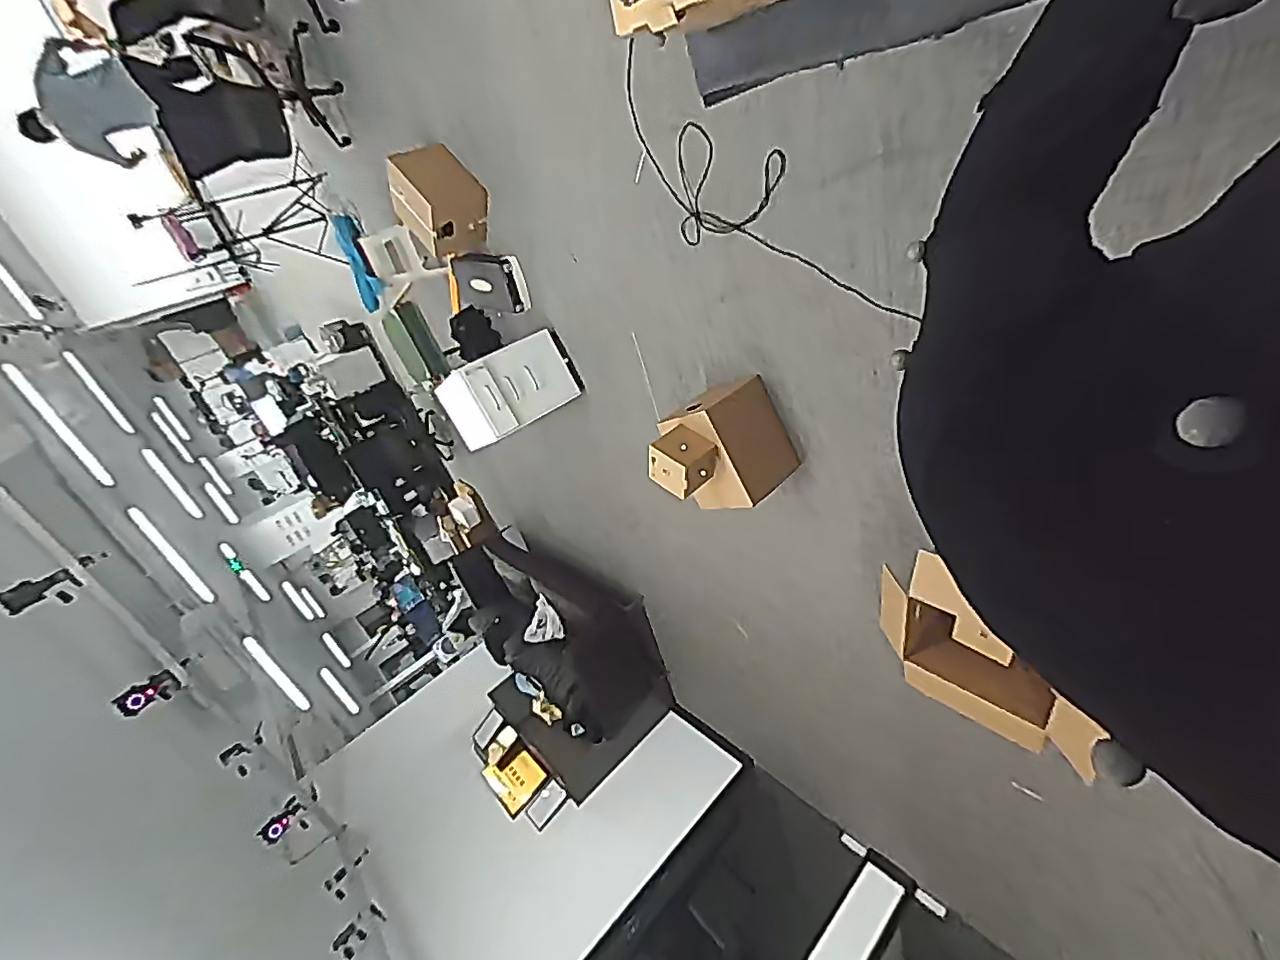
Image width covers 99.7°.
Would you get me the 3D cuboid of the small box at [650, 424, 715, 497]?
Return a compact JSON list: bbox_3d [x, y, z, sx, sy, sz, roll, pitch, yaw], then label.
[{"bbox_3d":[0.156,-0.077,1.977,0.179,0.176,0.168,34,144,29],"label":"small box"}]
